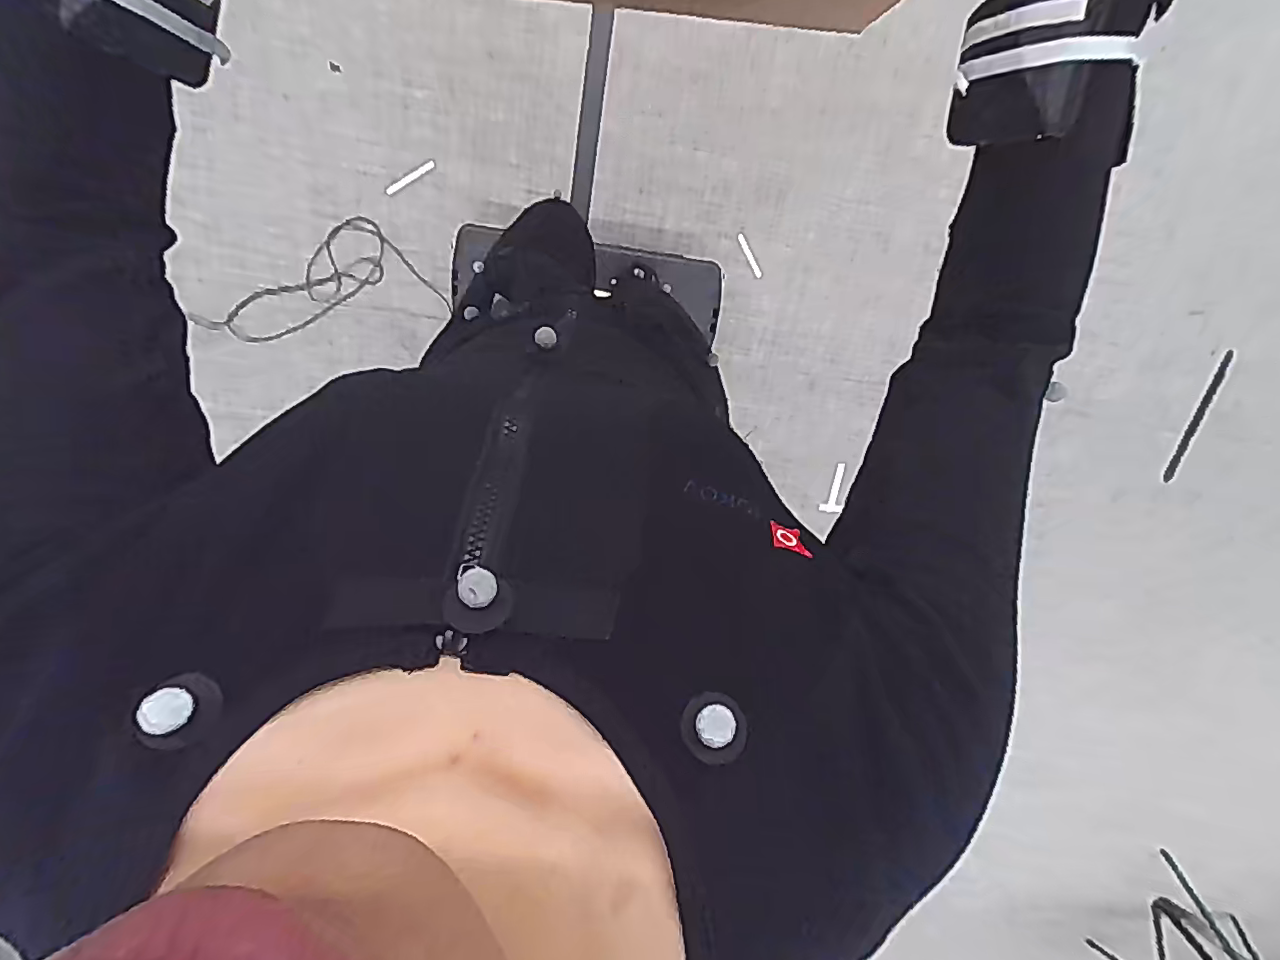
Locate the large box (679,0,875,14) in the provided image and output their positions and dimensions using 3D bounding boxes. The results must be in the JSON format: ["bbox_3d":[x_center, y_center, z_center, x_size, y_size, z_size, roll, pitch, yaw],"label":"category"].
[{"bbox_3d":[0.019,-0.513,0.307,0.408,0.320,0.320,5,120,-1],"label":"large box"}]
